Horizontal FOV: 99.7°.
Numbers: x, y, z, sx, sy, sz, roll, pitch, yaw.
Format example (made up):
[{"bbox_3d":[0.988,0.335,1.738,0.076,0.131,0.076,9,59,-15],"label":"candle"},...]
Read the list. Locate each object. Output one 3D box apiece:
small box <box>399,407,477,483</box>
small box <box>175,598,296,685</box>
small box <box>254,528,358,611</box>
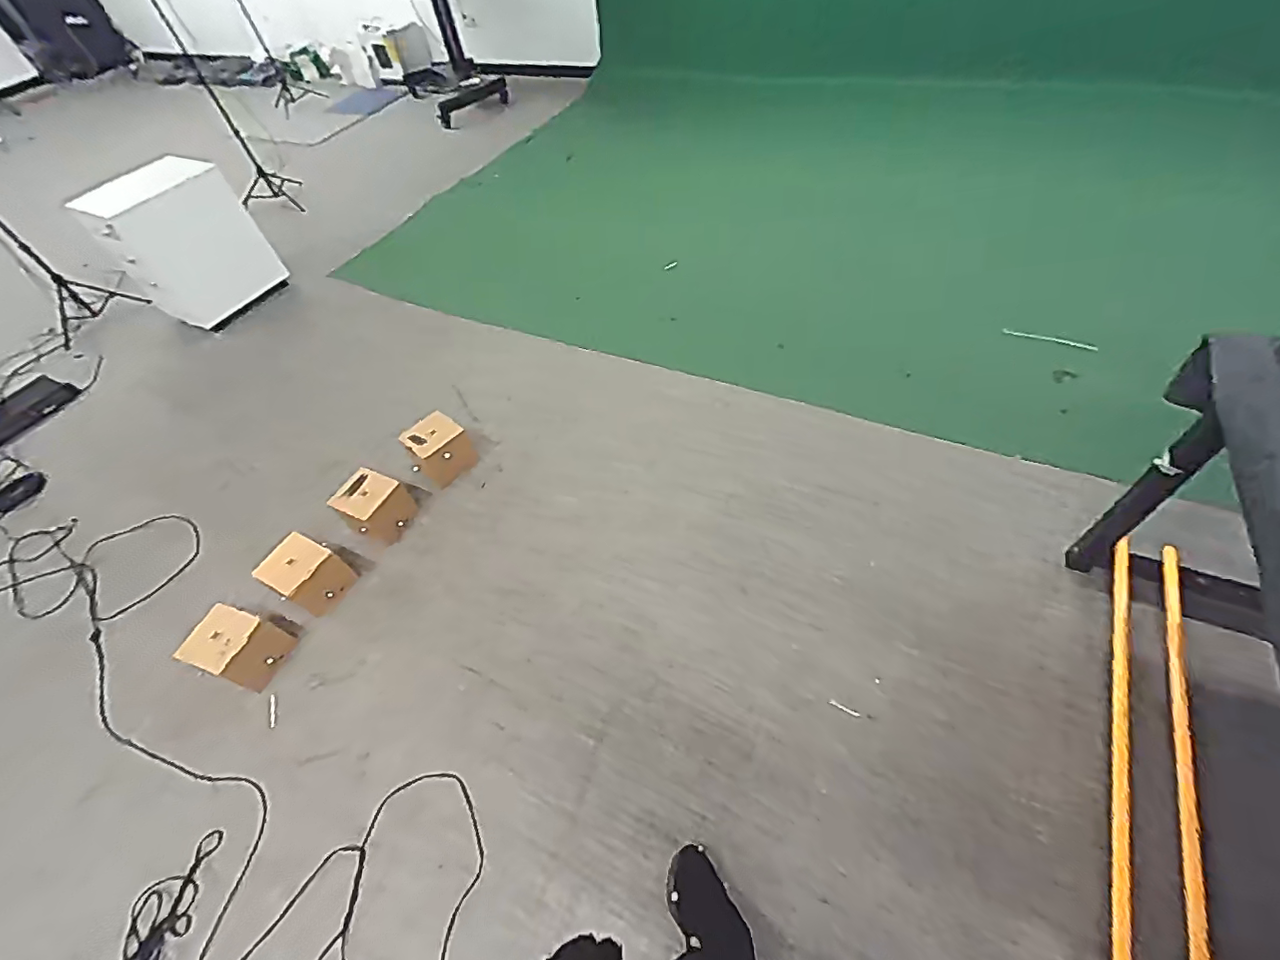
[{"bbox_3d":[-0.717,-0.120,1.935,0.168,0.176,0.179,33,62,27],"label":"small box"},{"bbox_3d":[-1.140,0.462,1.539,0.179,0.176,0.168,12,56,16],"label":"small box"},{"bbox_3d":[-1.023,0.280,1.667,0.179,0.176,0.168,20,57,20],"label":"small box"}]
